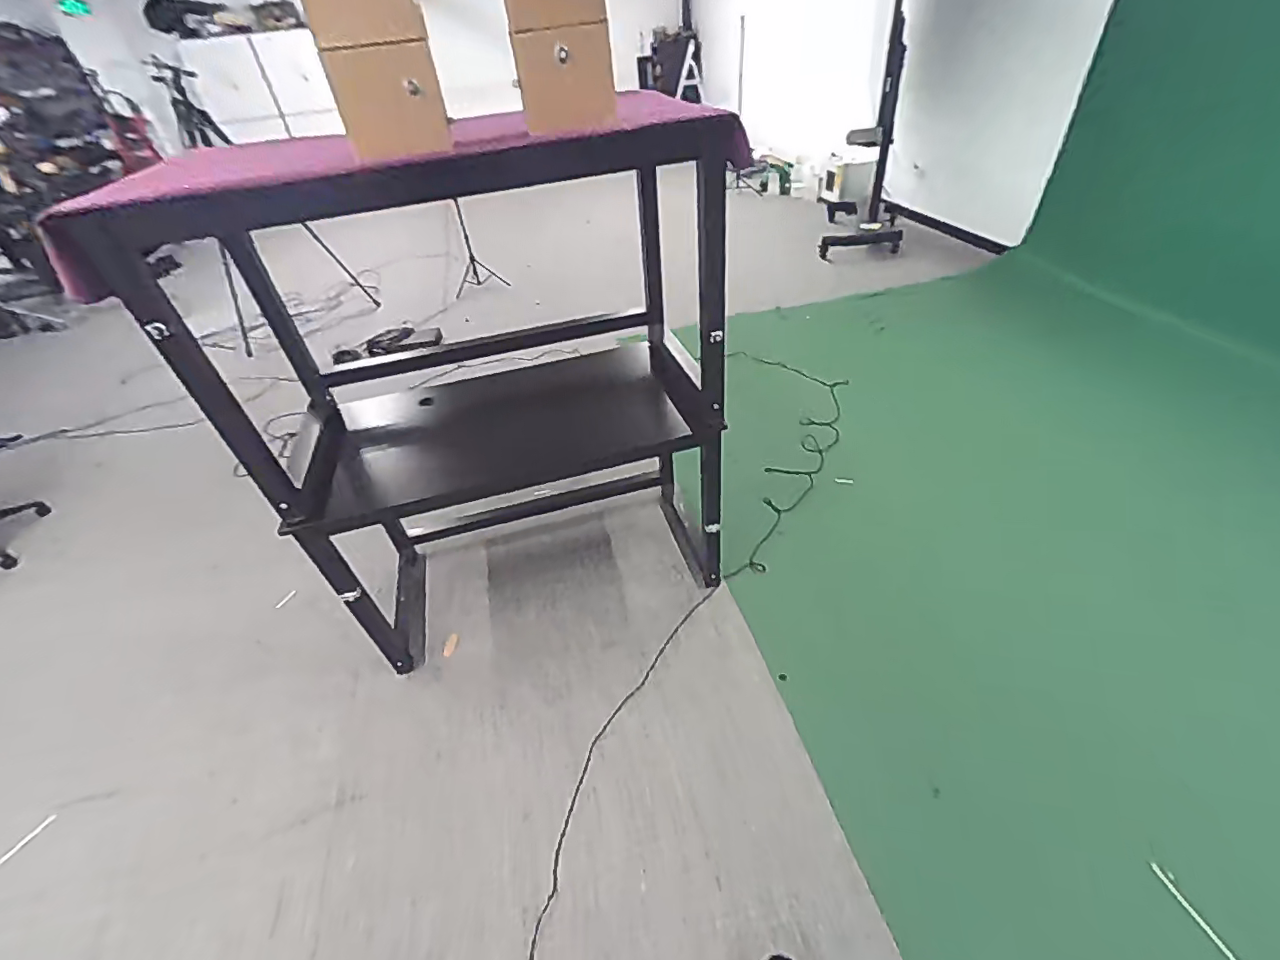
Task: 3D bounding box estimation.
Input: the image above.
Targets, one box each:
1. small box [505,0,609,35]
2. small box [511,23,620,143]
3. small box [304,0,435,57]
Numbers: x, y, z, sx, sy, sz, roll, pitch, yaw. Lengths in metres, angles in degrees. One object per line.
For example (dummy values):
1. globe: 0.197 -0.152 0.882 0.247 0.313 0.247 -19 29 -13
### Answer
1. small box: -0.161 -0.901 0.957 0.179 0.176 0.168 -11 42 -5
2. small box: -0.145 -0.780 1.064 0.179 0.176 0.168 -12 42 -6
3. small box: -0.469 -0.832 0.915 0.179 0.176 0.168 -13 40 -6
